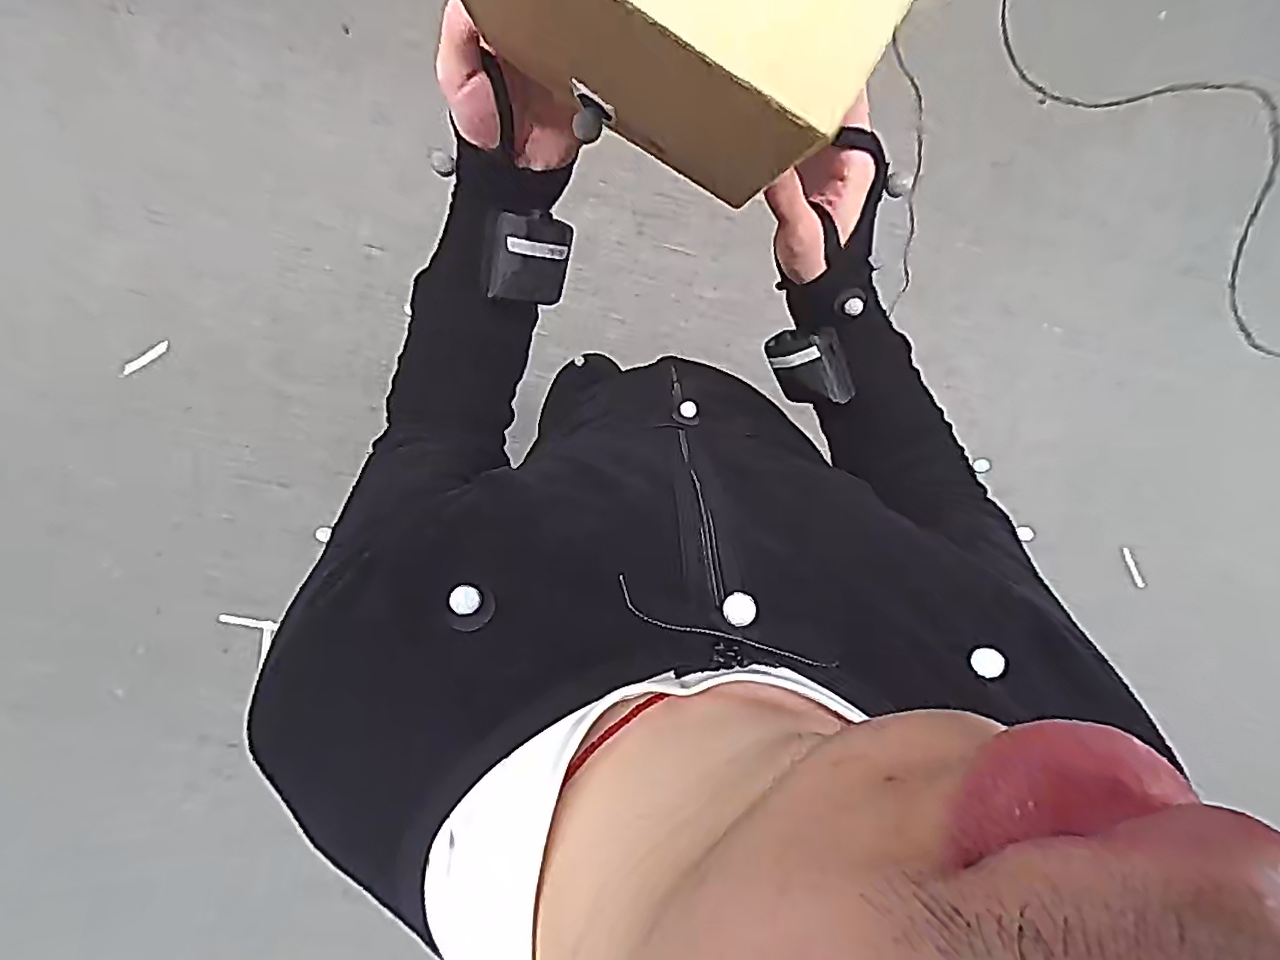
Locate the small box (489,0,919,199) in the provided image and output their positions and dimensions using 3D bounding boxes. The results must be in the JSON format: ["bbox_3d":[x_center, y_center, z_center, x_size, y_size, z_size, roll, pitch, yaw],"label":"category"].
[{"bbox_3d":[0.035,-0.251,0.225,0.168,0.176,0.179,27,107,-10],"label":"small box"}]
